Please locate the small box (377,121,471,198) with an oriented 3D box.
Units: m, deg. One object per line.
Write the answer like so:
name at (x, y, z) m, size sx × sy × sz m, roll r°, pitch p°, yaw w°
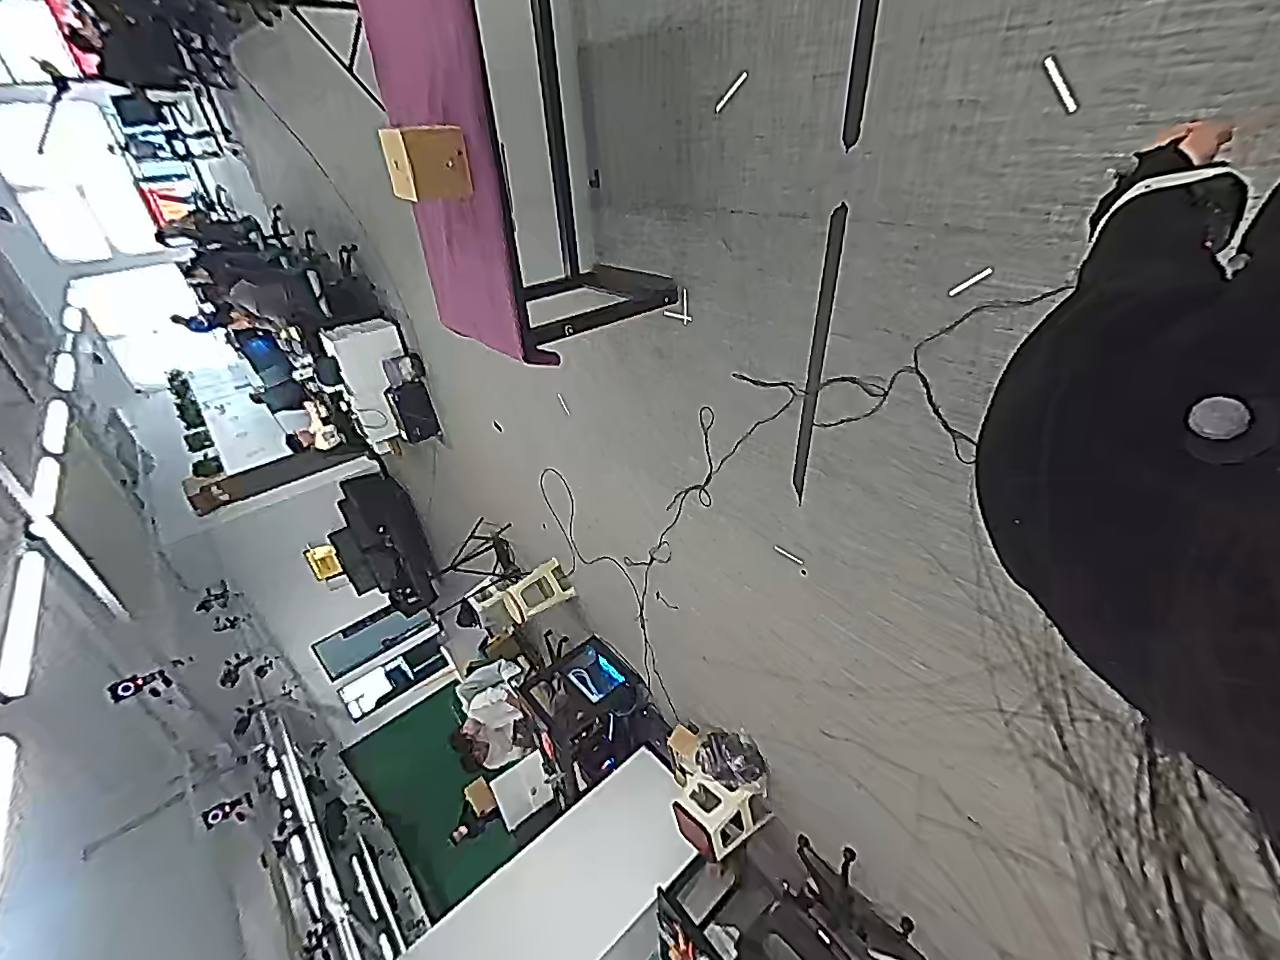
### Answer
small box at (-0.594, -0.891, 1.498) m, size 0.179 × 0.176 × 0.168 m, roll 34°, pitch 139°, yaw 39°
